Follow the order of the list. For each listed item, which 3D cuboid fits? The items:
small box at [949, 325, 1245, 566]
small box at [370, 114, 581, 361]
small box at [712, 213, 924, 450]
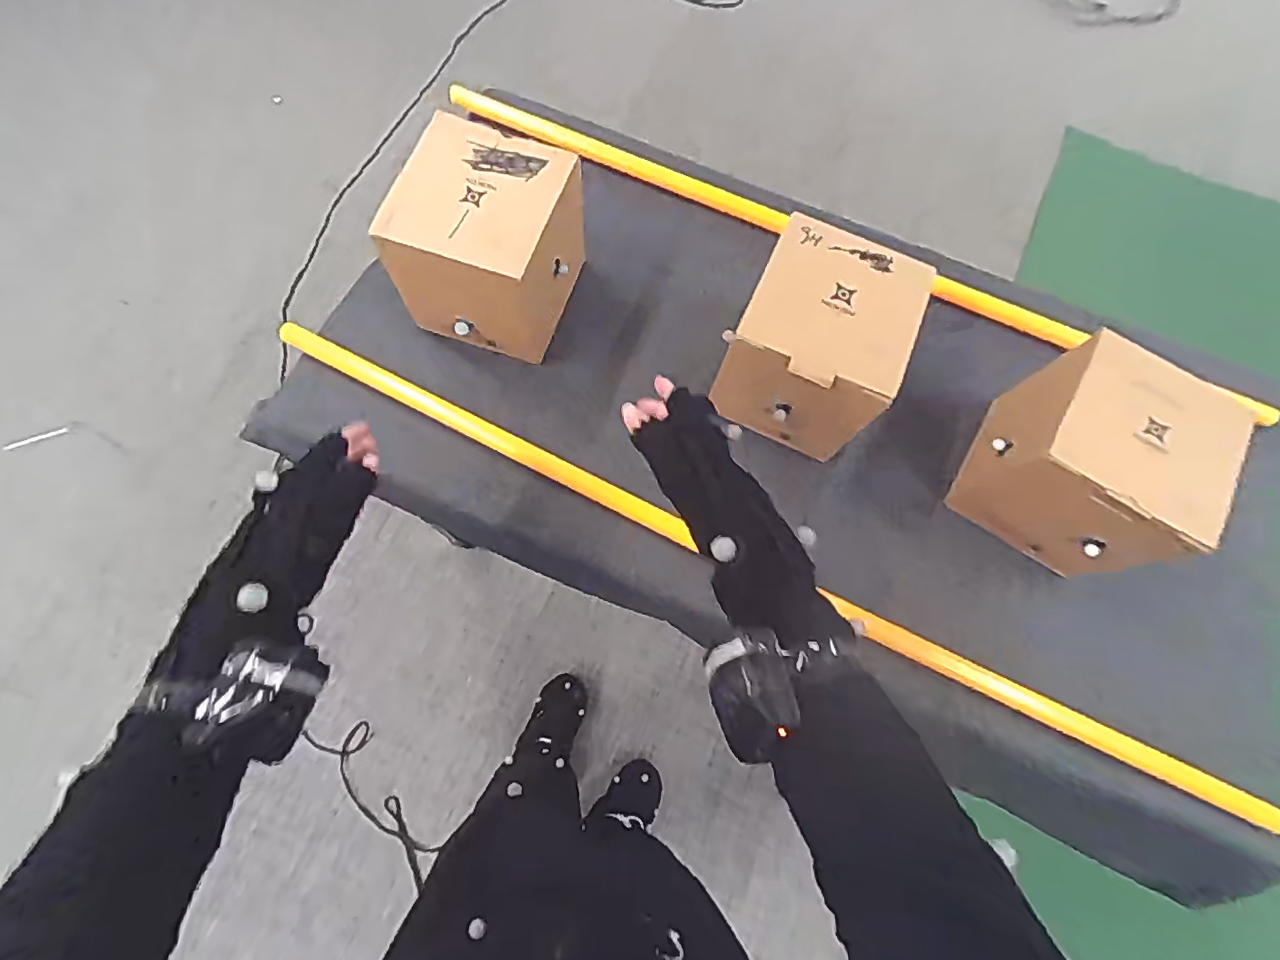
[{"bbox_3d":[0.483,-0.025,0.598,0.168,0.176,0.179,33,72,6],"label":"small box"},{"bbox_3d":[-0.174,-0.273,0.635,0.168,0.176,0.179,17,72,2],"label":"small box"},{"bbox_3d":[0.191,-0.158,0.625,0.168,0.176,0.179,21,71,5],"label":"small box"}]
